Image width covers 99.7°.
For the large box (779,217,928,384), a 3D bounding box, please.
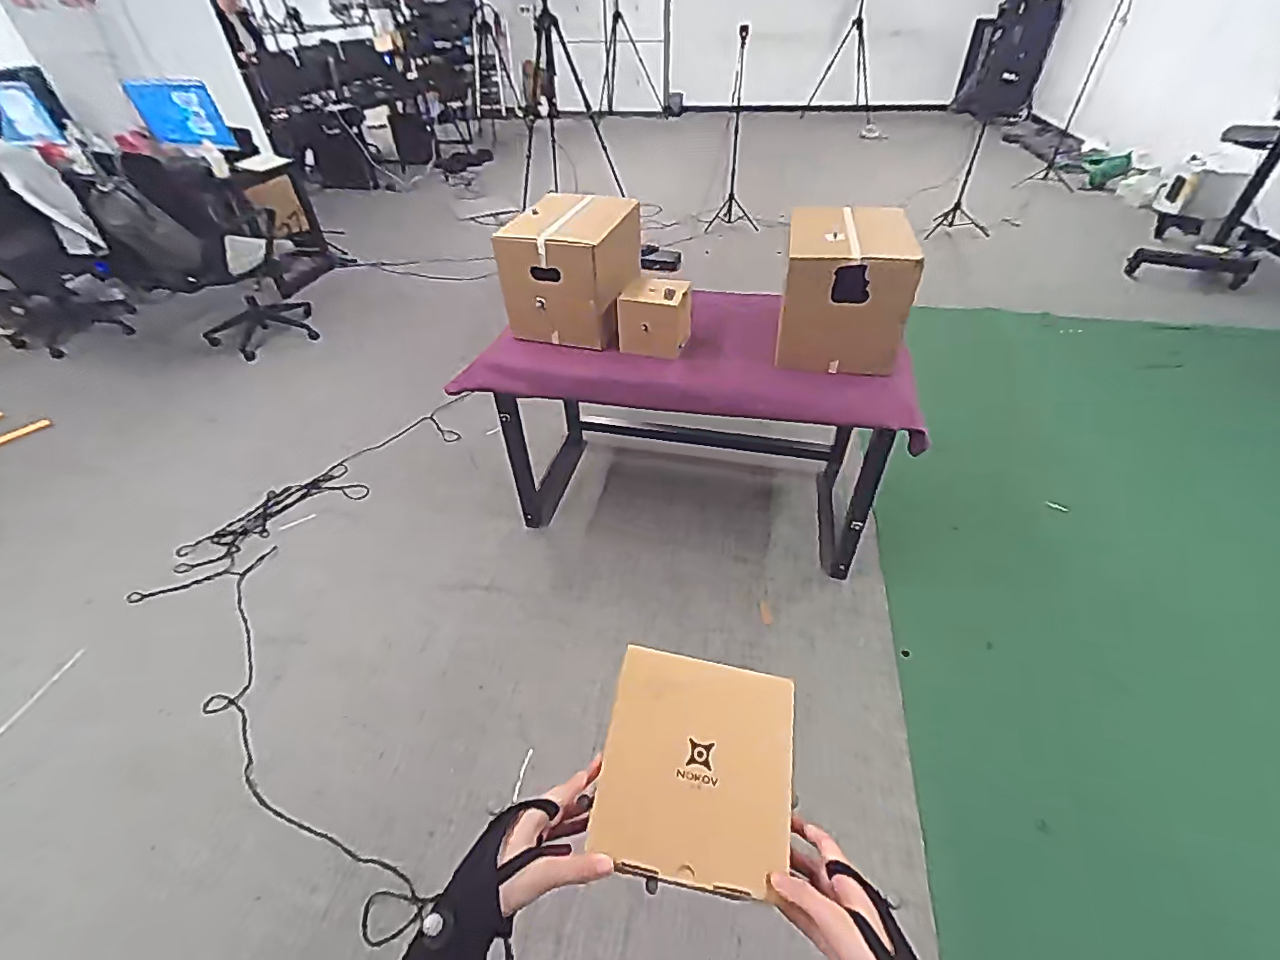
[{"bbox_3d":[0.567,-0.514,1.522,0.320,0.320,0.408,5,43,12],"label":"large box"}]
